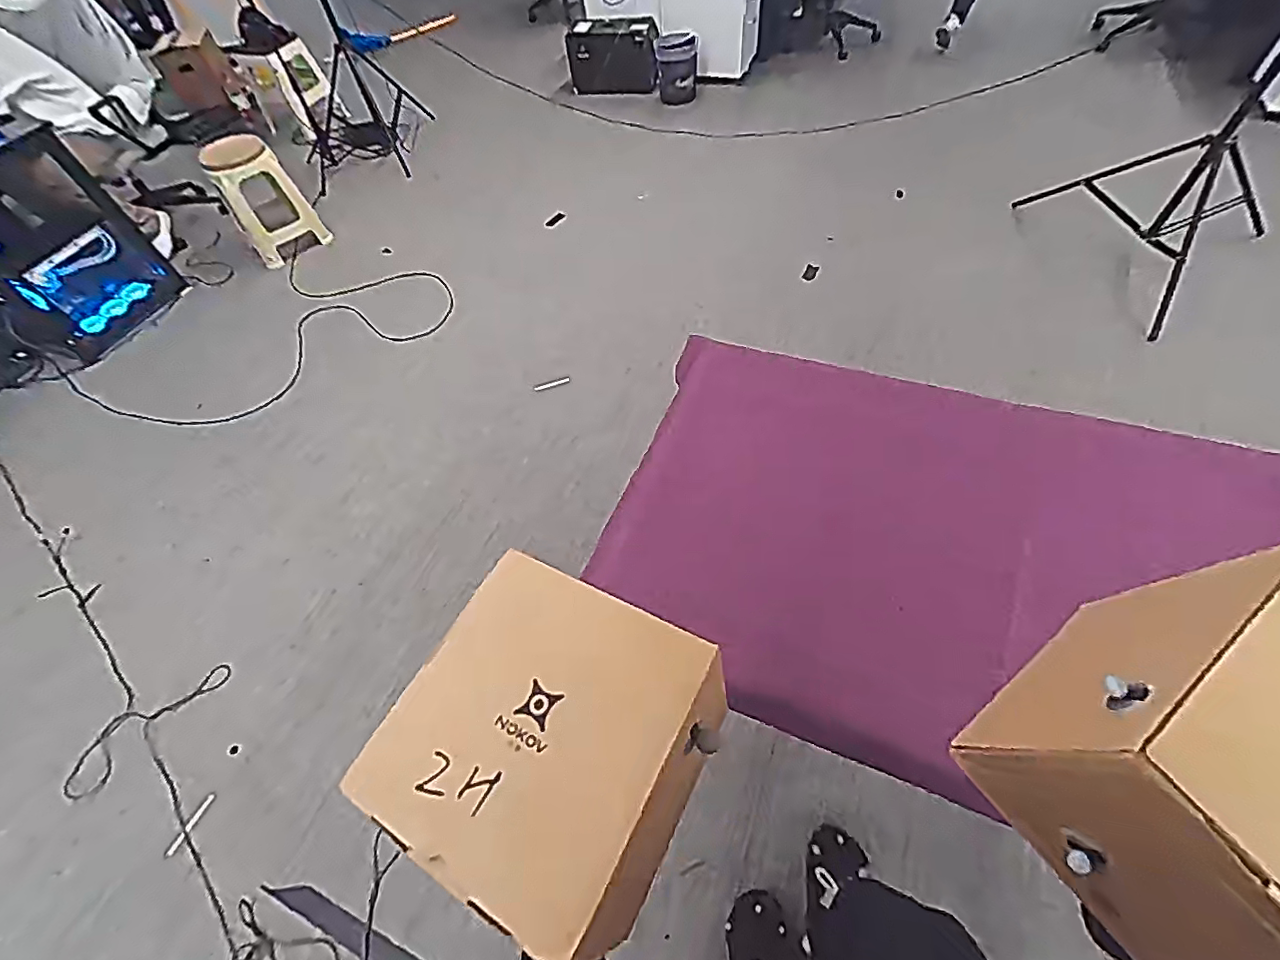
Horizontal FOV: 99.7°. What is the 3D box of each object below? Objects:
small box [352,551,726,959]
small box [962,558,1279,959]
[{"bbox_3d":[-0.048,0.186,0.386,0.168,0.176,0.179,20,62,24],"label":"small box"},{"bbox_3d":[0.338,0.169,0.313,0.179,0.176,0.168,-35,70,-15],"label":"small box"}]
